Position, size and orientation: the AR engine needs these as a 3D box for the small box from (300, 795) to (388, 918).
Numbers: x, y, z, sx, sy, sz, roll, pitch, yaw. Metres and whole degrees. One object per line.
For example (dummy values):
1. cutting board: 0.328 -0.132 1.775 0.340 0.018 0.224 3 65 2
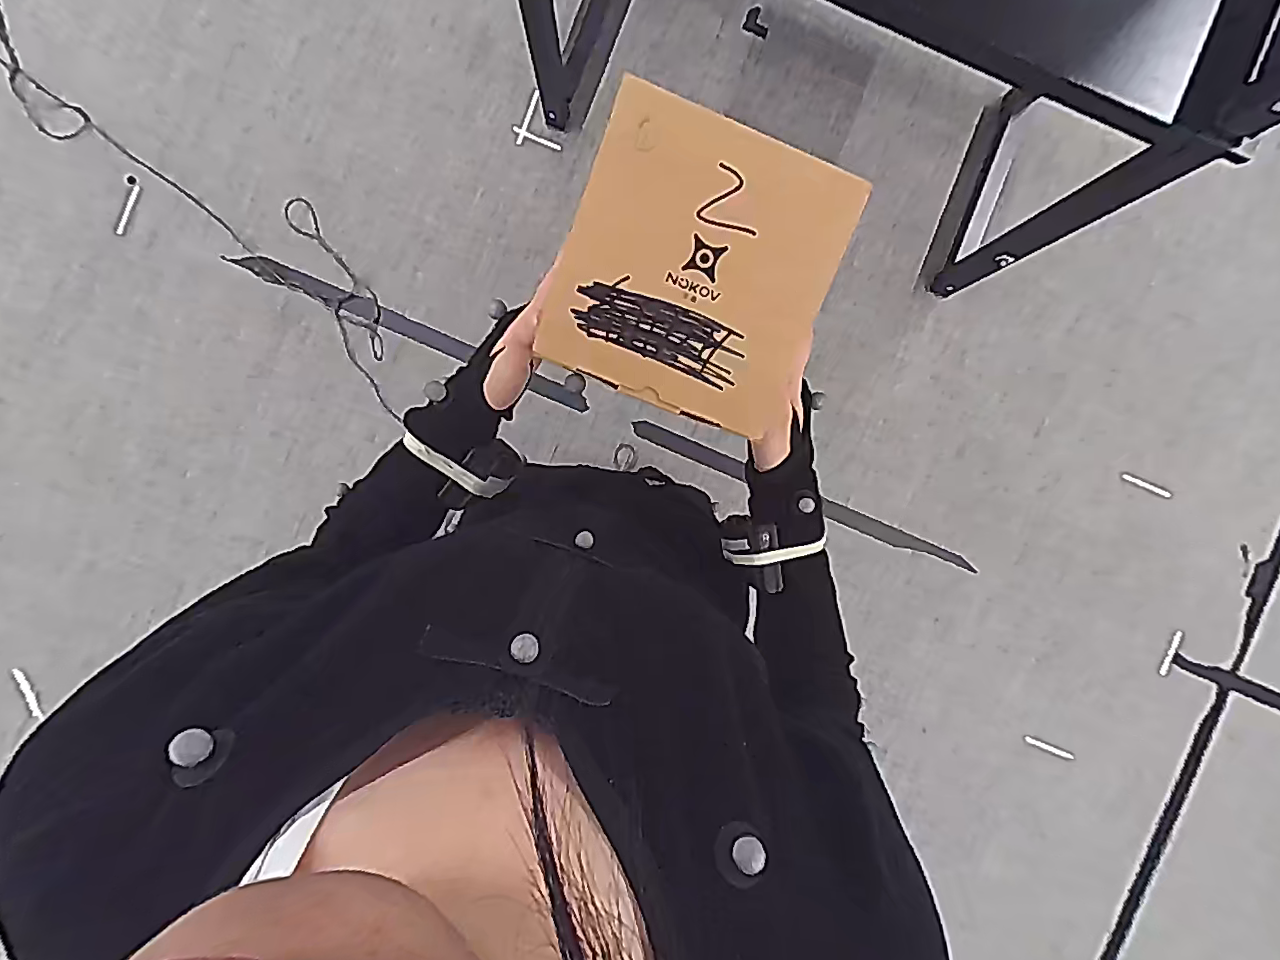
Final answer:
1. small box: -0.789 0.972 1.411 0.168 0.176 0.179 21 90 -4

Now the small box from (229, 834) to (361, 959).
1. small box: -0.783 0.977 1.248 0.168 0.176 0.179 25 90 -3
